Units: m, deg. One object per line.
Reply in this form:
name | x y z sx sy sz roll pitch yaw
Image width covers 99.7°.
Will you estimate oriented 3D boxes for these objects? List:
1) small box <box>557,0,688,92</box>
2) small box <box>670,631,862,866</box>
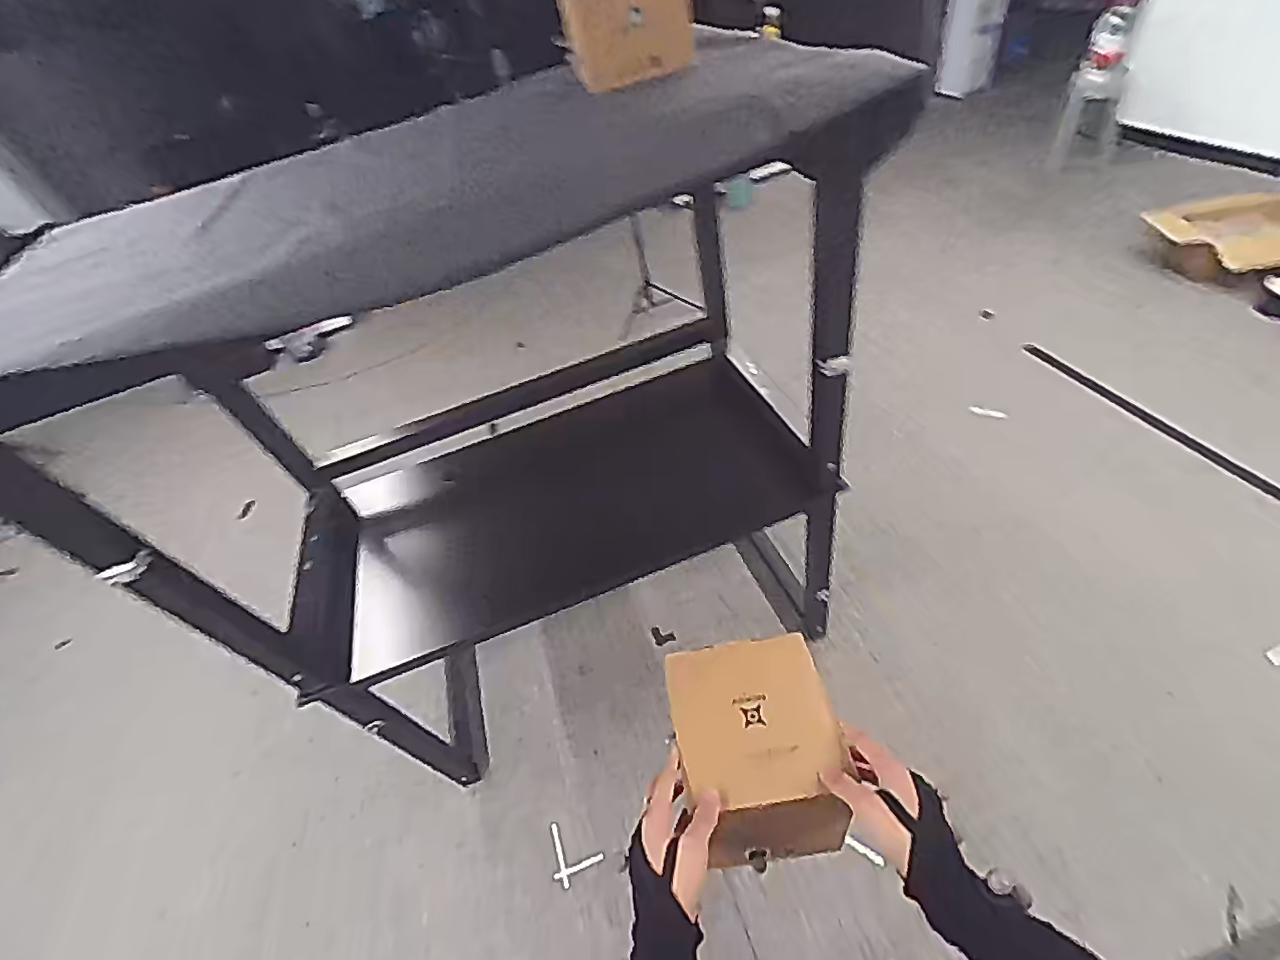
small box | -0.033 -0.726 0.830 0.168 0.176 0.179 -17 48 0
small box | 0.128 0.303 0.616 0.168 0.176 0.179 -8 38 0
